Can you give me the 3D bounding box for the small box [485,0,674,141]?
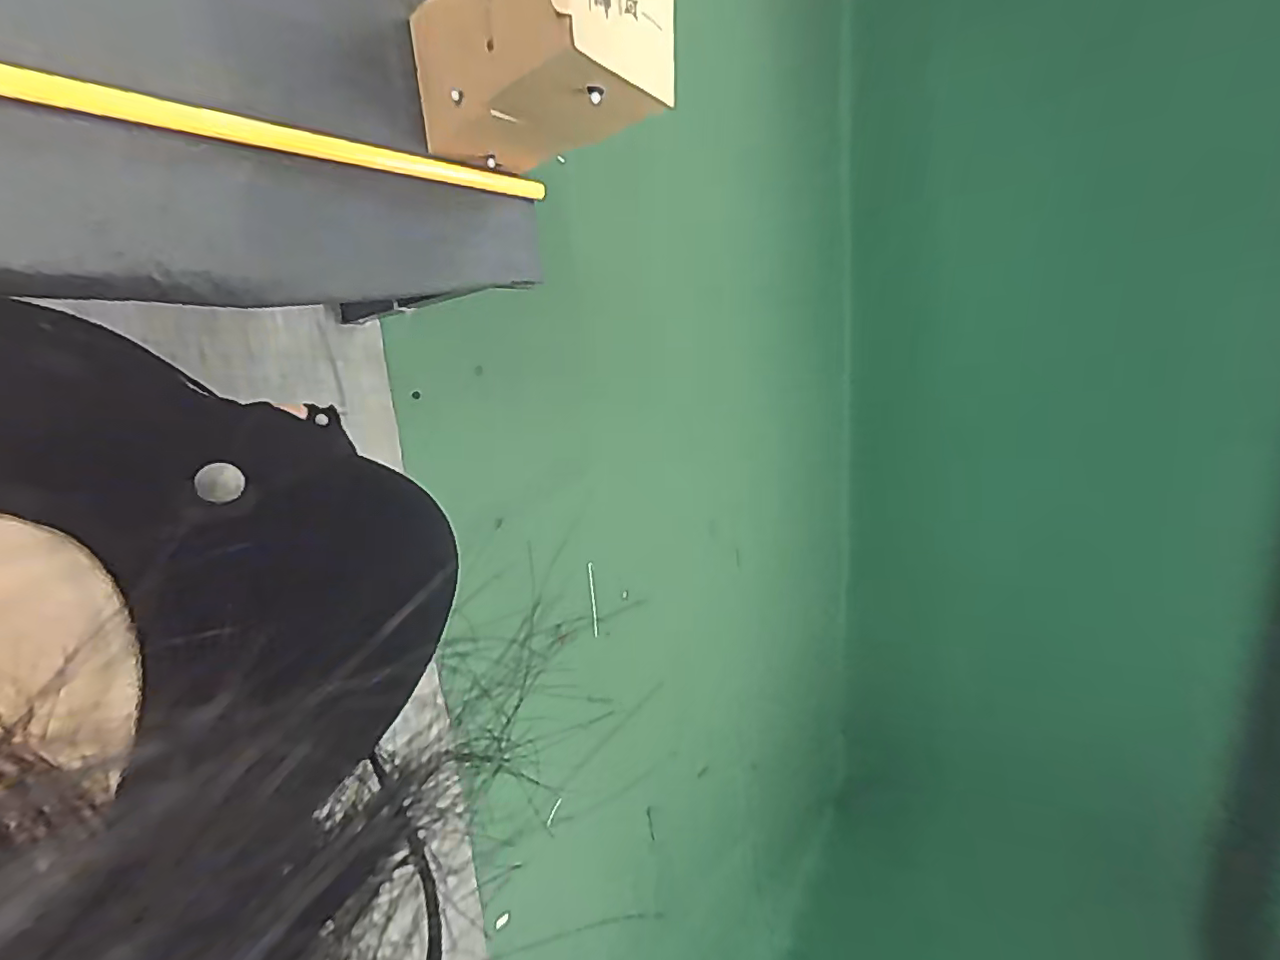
[{"bbox_3d":[-0.077,-0.550,0.666,0.179,0.176,0.168,-11,104,-47],"label":"small box"}]
